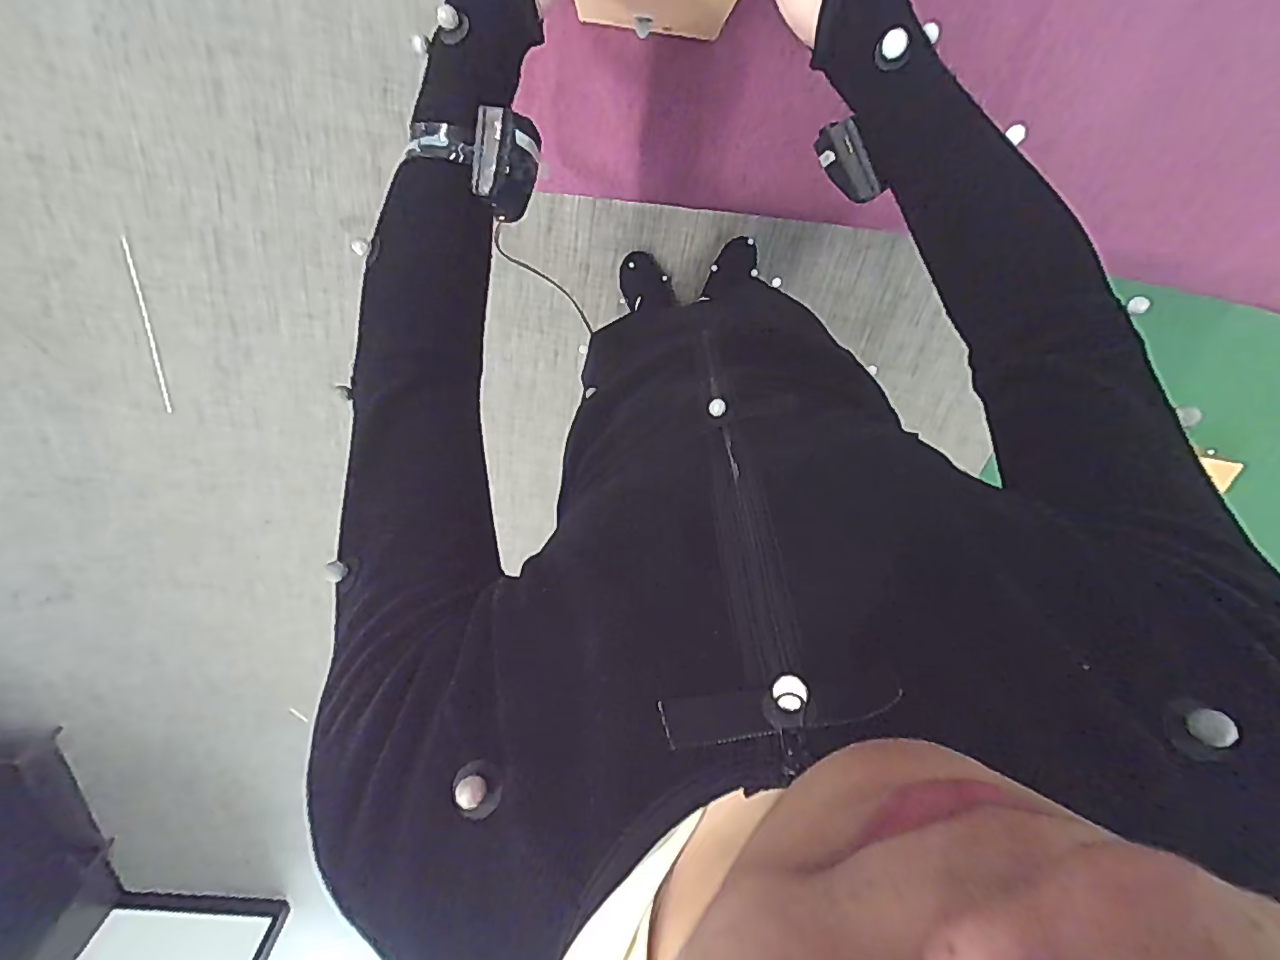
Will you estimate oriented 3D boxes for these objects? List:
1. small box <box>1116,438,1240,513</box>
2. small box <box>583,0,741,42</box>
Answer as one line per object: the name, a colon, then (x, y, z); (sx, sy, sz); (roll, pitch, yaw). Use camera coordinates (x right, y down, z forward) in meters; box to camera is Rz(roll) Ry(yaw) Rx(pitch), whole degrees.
small box: (1.641, -0.020, 1.665); (0.179, 0.176, 0.168); (8, 116, -6)
small box: (0.024, -0.572, 0.532); (0.168, 0.176, 0.179); (5, 117, -4)
